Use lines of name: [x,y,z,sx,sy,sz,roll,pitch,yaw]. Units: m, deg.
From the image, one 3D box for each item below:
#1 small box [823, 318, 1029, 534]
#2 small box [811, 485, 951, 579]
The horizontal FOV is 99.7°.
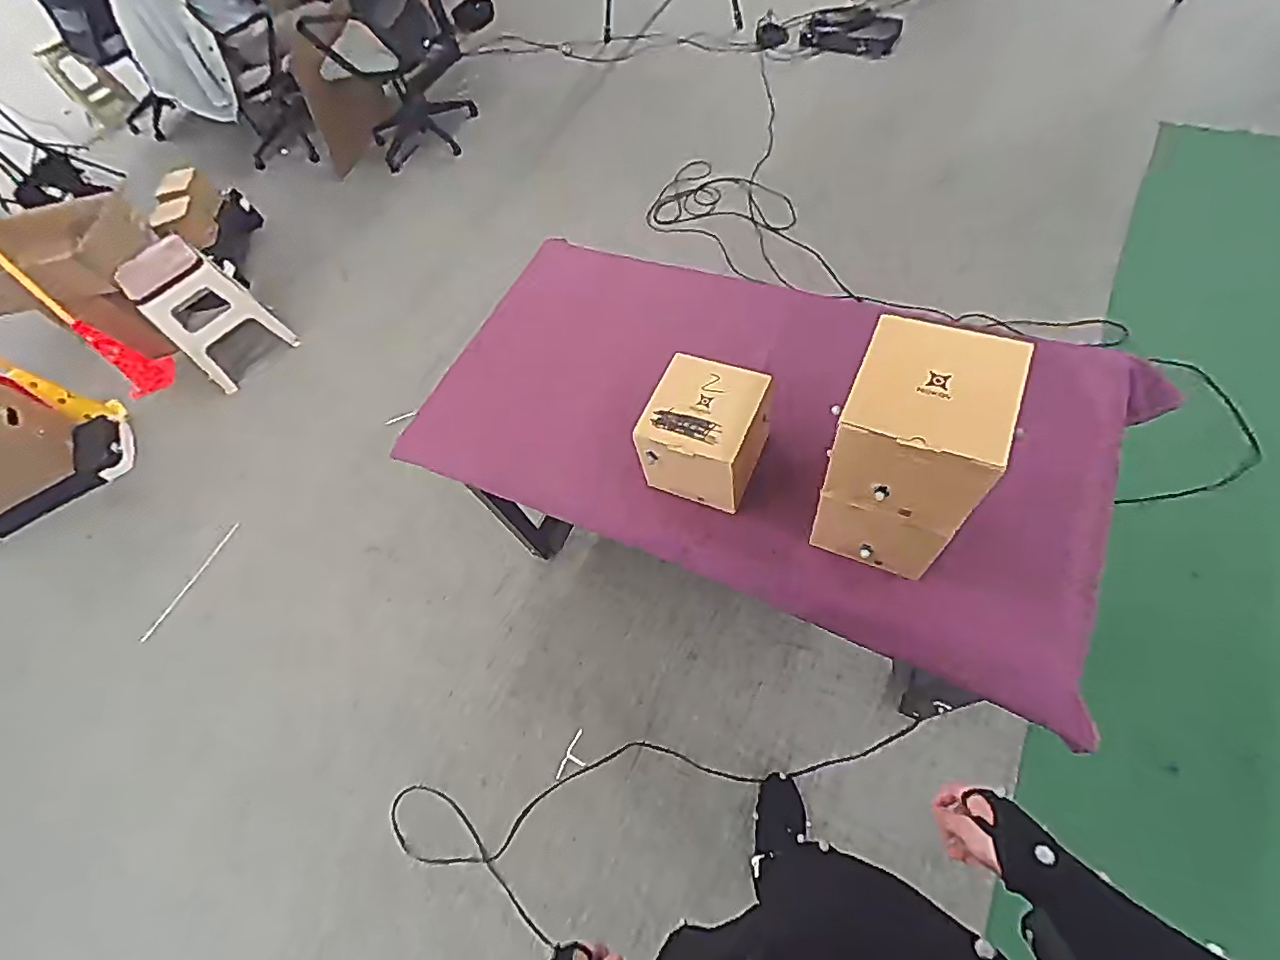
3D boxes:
small box: [0.337,-0.062,0.665,0.168,0.176,0.179,20,67,20]
small box: [0.363,0.019,0.803,0.168,0.176,0.179,19,66,21]
